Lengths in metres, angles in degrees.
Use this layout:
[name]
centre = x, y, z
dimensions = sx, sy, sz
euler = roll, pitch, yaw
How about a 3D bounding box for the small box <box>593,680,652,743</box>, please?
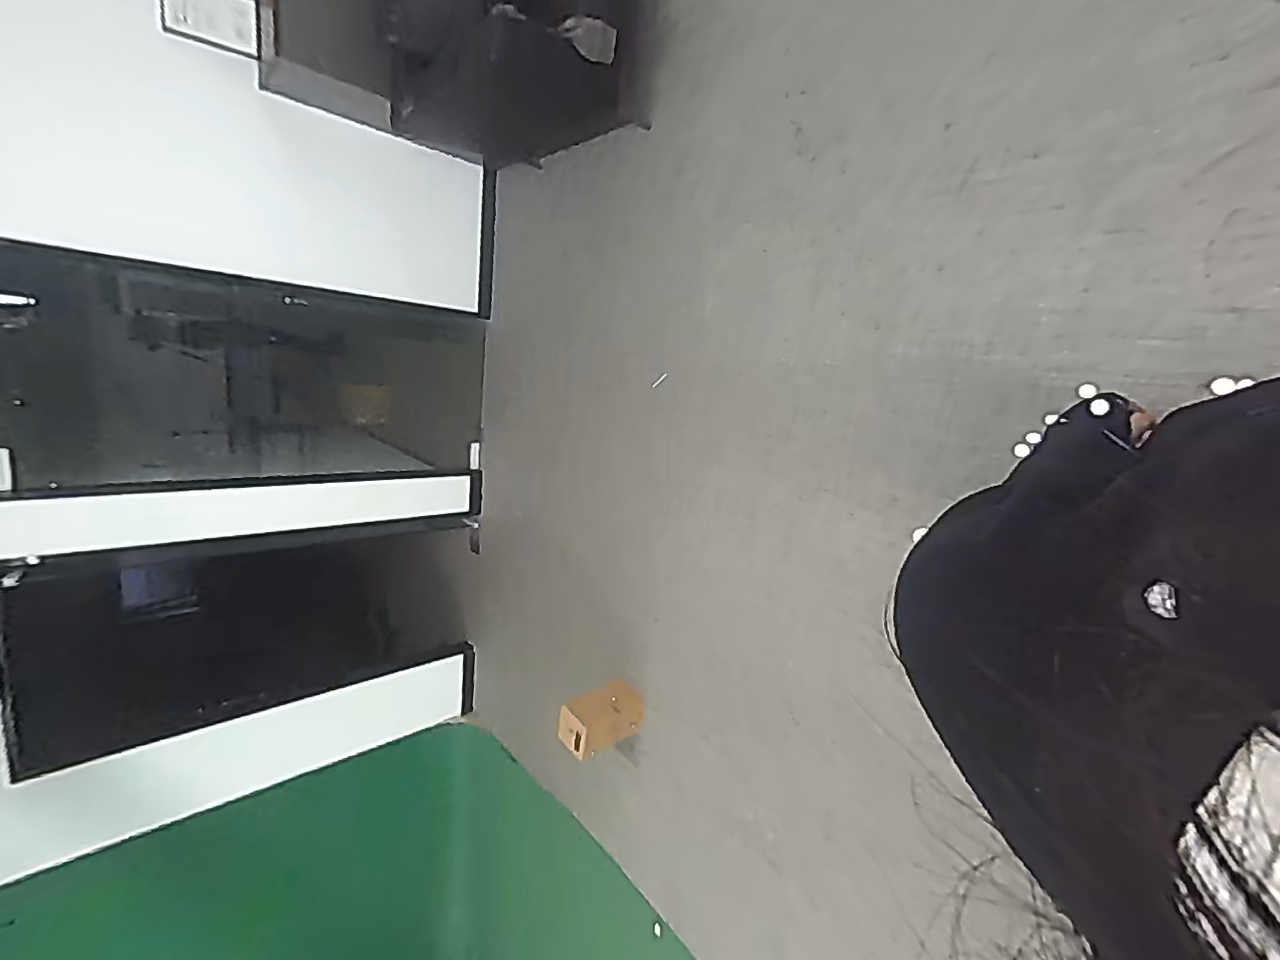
[small box]
centre = -0.078, 1.004, 2.366
dimensions = 0.179, 0.176, 0.168
euler = 31, 116, 41
